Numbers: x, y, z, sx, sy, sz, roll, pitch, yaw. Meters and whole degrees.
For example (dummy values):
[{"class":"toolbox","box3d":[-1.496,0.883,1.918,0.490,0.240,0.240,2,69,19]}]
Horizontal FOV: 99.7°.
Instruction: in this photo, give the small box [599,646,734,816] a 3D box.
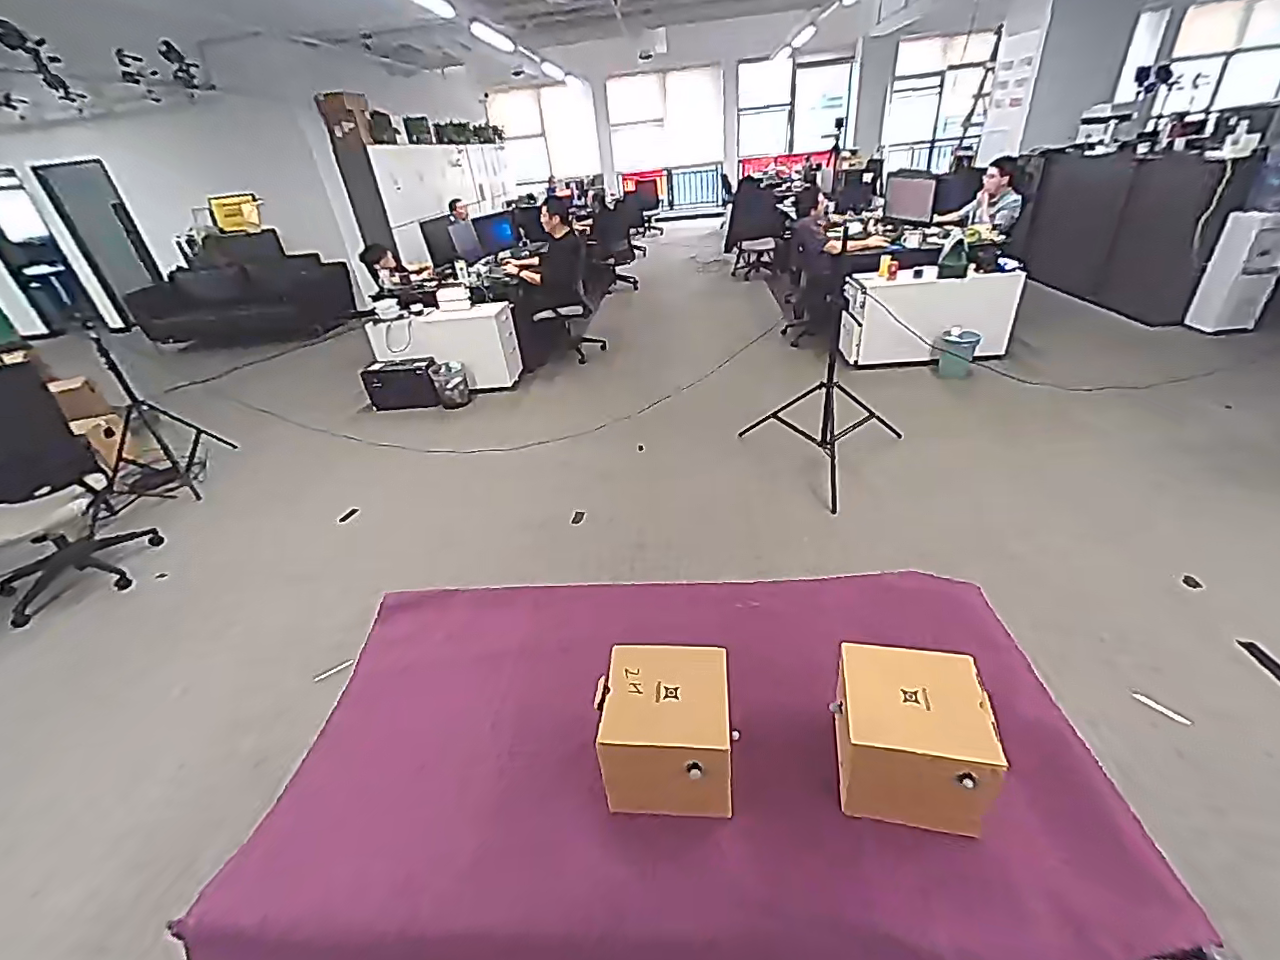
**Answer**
[{"class":"small box","box3d":[0.047,0.369,0.800,0.179,0.176,0.168,-2,31,8]}]

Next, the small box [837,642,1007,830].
[{"class":"small box","box3d":[0.375,0.355,0.758,0.179,0.176,0.168,2,32,14]}]
